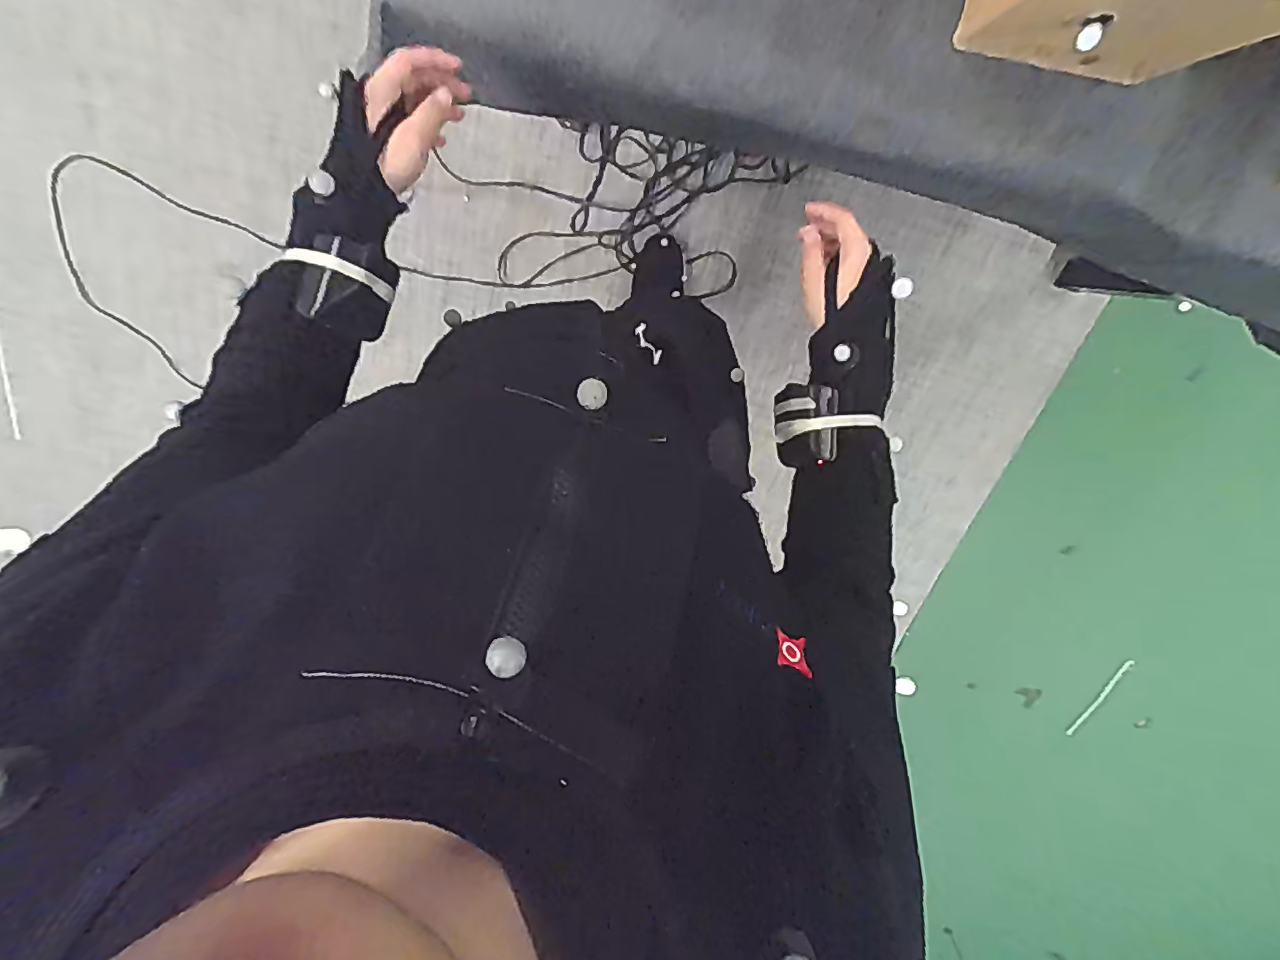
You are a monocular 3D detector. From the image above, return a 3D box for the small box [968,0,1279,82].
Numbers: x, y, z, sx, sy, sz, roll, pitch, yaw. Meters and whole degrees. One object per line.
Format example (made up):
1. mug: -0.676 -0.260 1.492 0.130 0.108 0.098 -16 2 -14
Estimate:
1. small box: 0.357 -0.396 0.356 0.168 0.176 0.179 10 113 -2
